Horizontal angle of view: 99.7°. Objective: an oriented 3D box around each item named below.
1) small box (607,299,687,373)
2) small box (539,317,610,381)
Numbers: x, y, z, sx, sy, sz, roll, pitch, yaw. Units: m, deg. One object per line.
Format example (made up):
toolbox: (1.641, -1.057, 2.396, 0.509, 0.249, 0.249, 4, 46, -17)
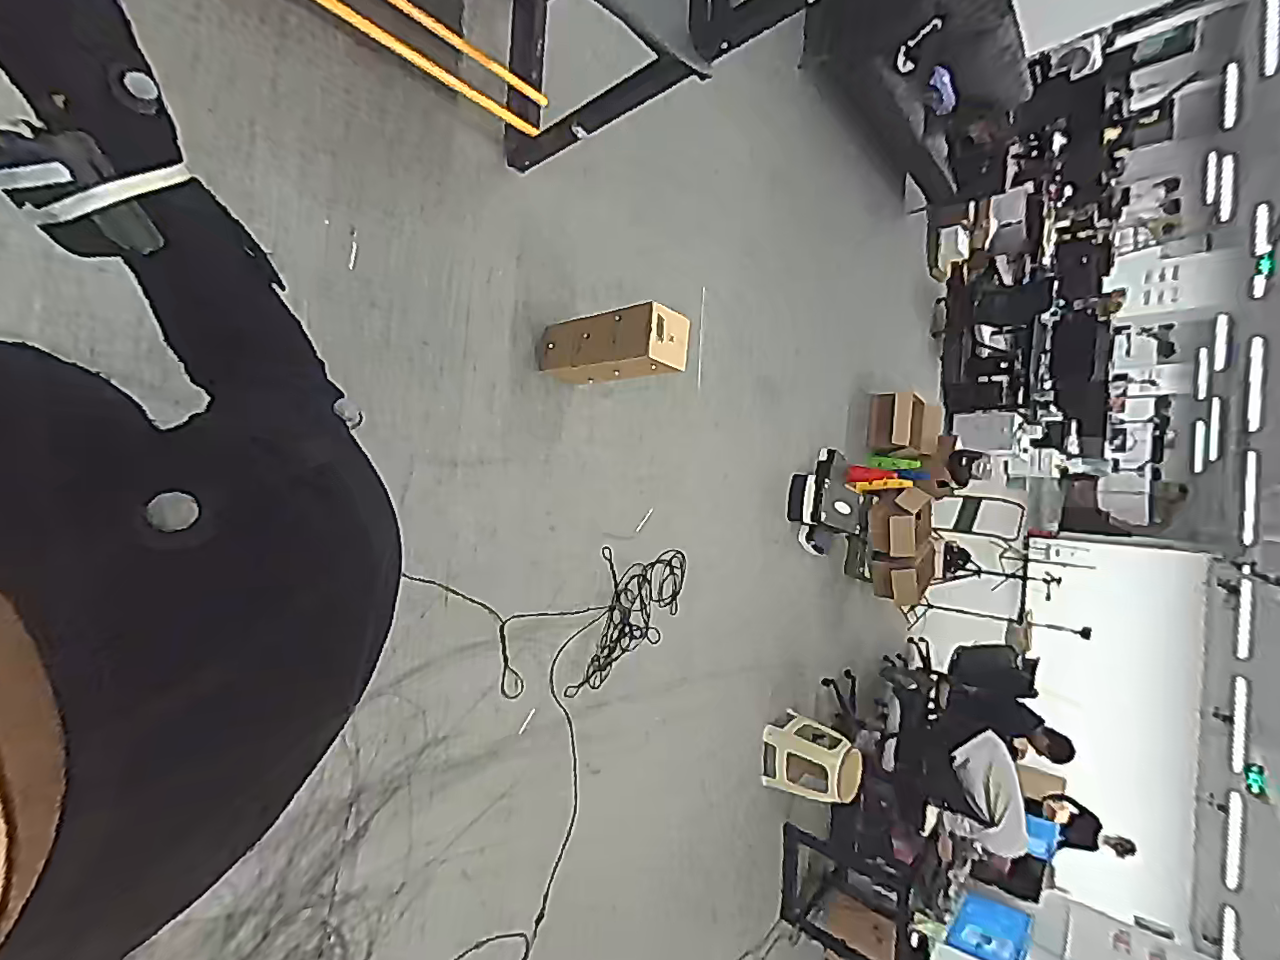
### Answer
small box: (0.019, -0.432, 1.654, 0.179, 0.176, 0.168, 10, 86, -48)
small box: (-0.223, -0.444, 1.873, 0.179, 0.176, 0.168, 13, 83, -47)
